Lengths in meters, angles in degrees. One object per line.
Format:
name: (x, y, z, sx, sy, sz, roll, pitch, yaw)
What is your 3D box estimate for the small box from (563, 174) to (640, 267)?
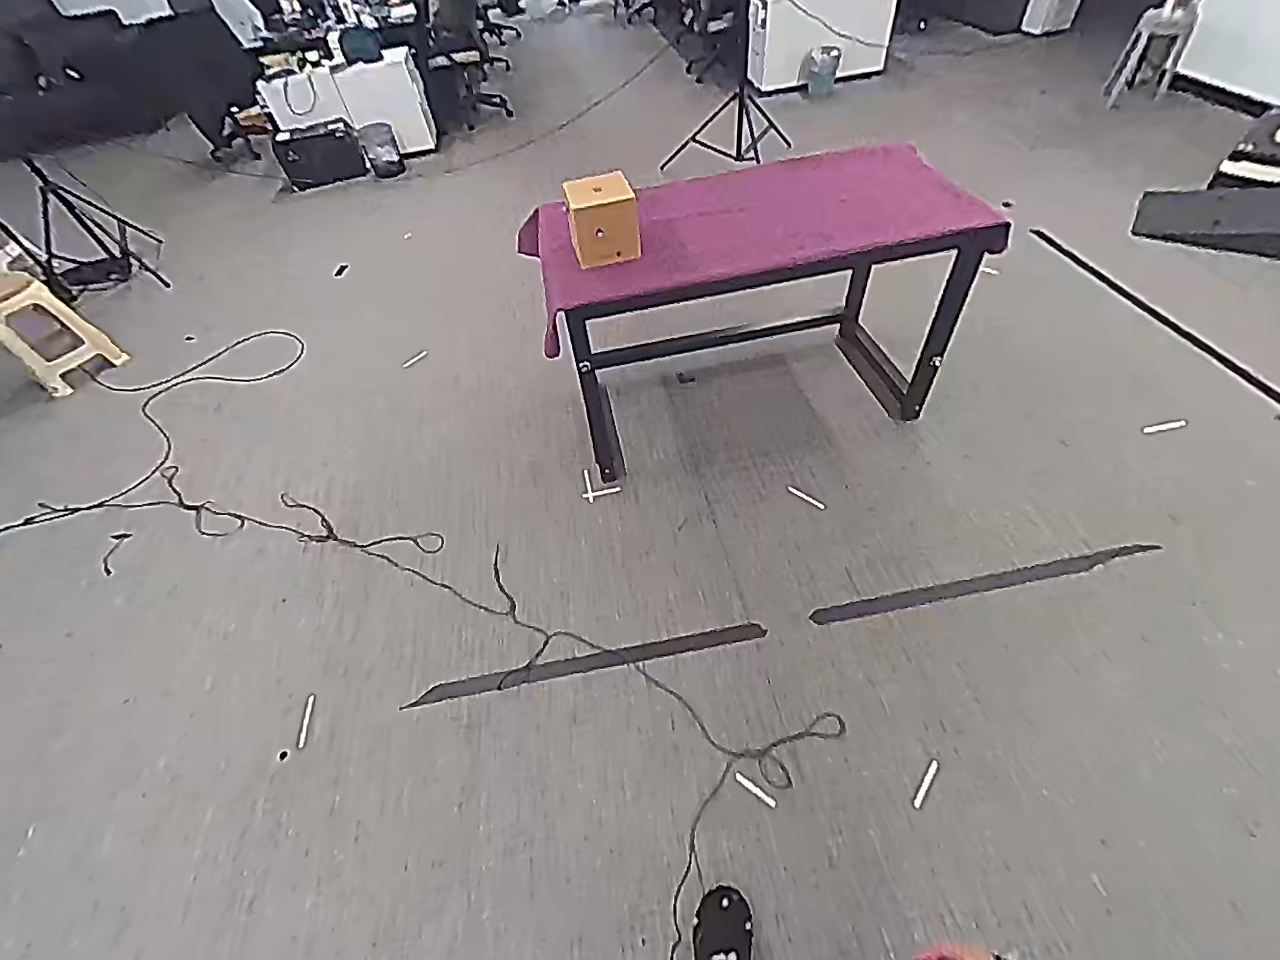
small box: (-0.101, -0.697, 1.469, 0.168, 0.176, 0.179, -14, 50, -5)
